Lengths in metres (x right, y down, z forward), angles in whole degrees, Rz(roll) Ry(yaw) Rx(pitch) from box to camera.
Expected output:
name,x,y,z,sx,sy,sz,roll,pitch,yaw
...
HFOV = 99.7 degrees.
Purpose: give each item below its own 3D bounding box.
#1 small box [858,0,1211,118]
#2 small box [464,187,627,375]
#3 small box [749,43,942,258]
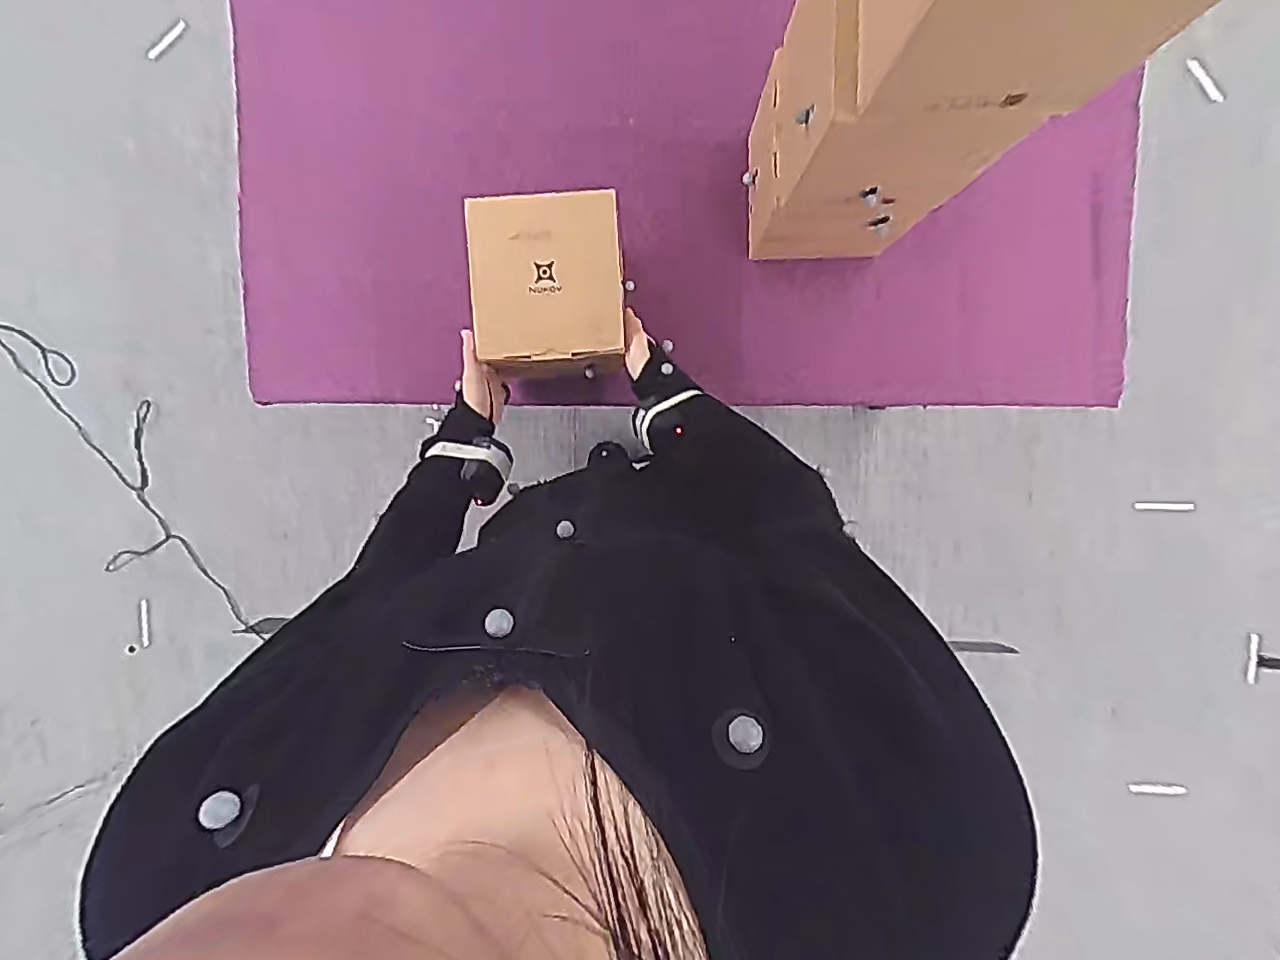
name,x,y,z,sx,sy,sz,roll,pitch,yaw
small box,0.241,-0.355,0.320,0.168,0.176,0.179,-1,94,2
small box,-0.104,-0.228,0.667,0.168,0.176,0.179,-5,92,0
small box,0.232,-0.378,0.648,0.179,0.176,0.168,-1,93,3
